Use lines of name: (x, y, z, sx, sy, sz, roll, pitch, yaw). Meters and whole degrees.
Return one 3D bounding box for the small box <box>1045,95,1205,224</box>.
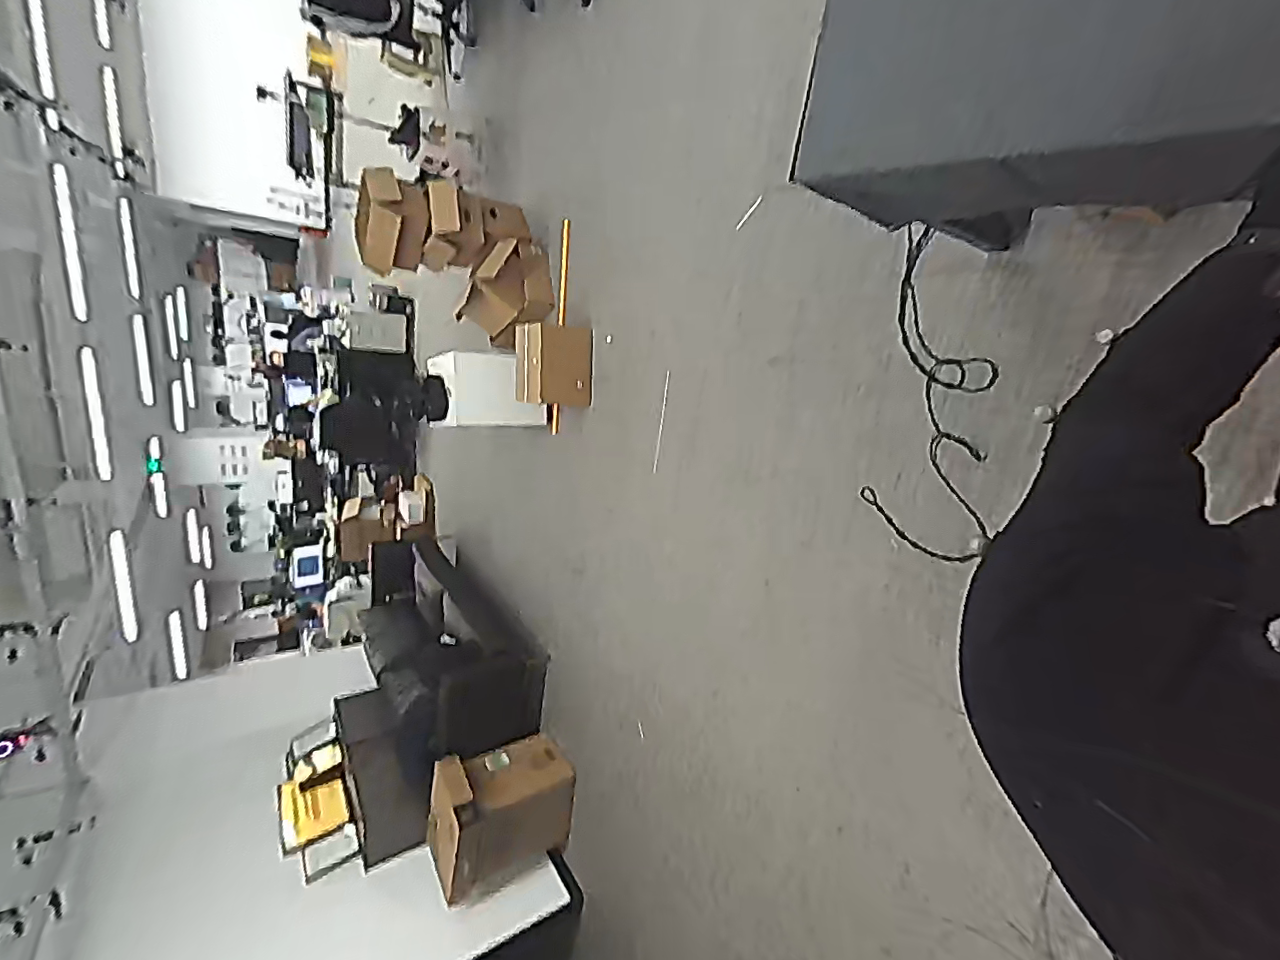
small box: (0.961, -0.627, 1.070, 0.168, 0.176, 0.179, 40, 124, 46)
